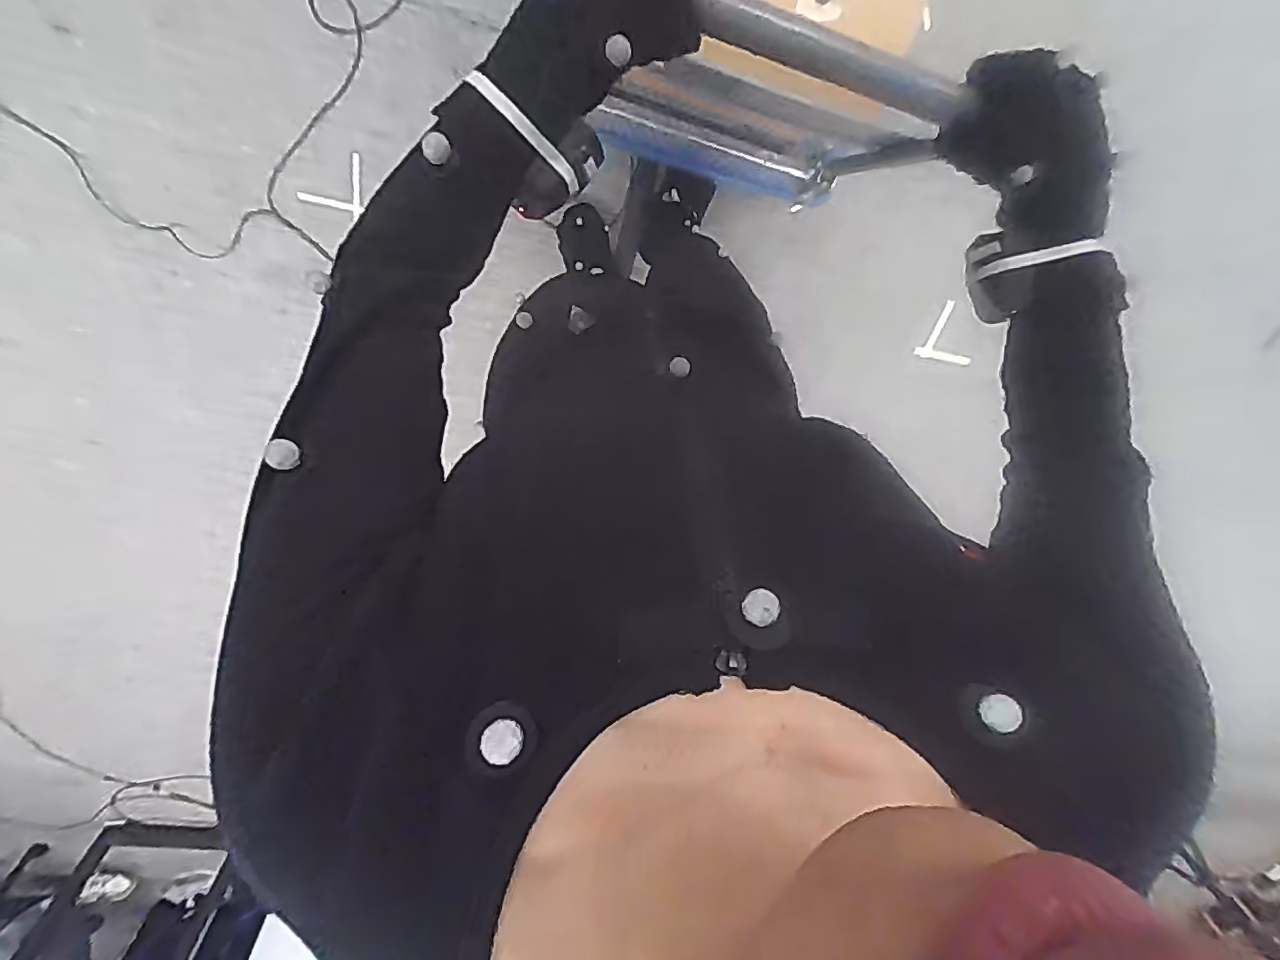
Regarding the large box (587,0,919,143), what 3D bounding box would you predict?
[{"bbox_3d":[0.150,-0.721,0.776,0.408,0.320,0.320,11,119,-13],"label":"large box"}]
